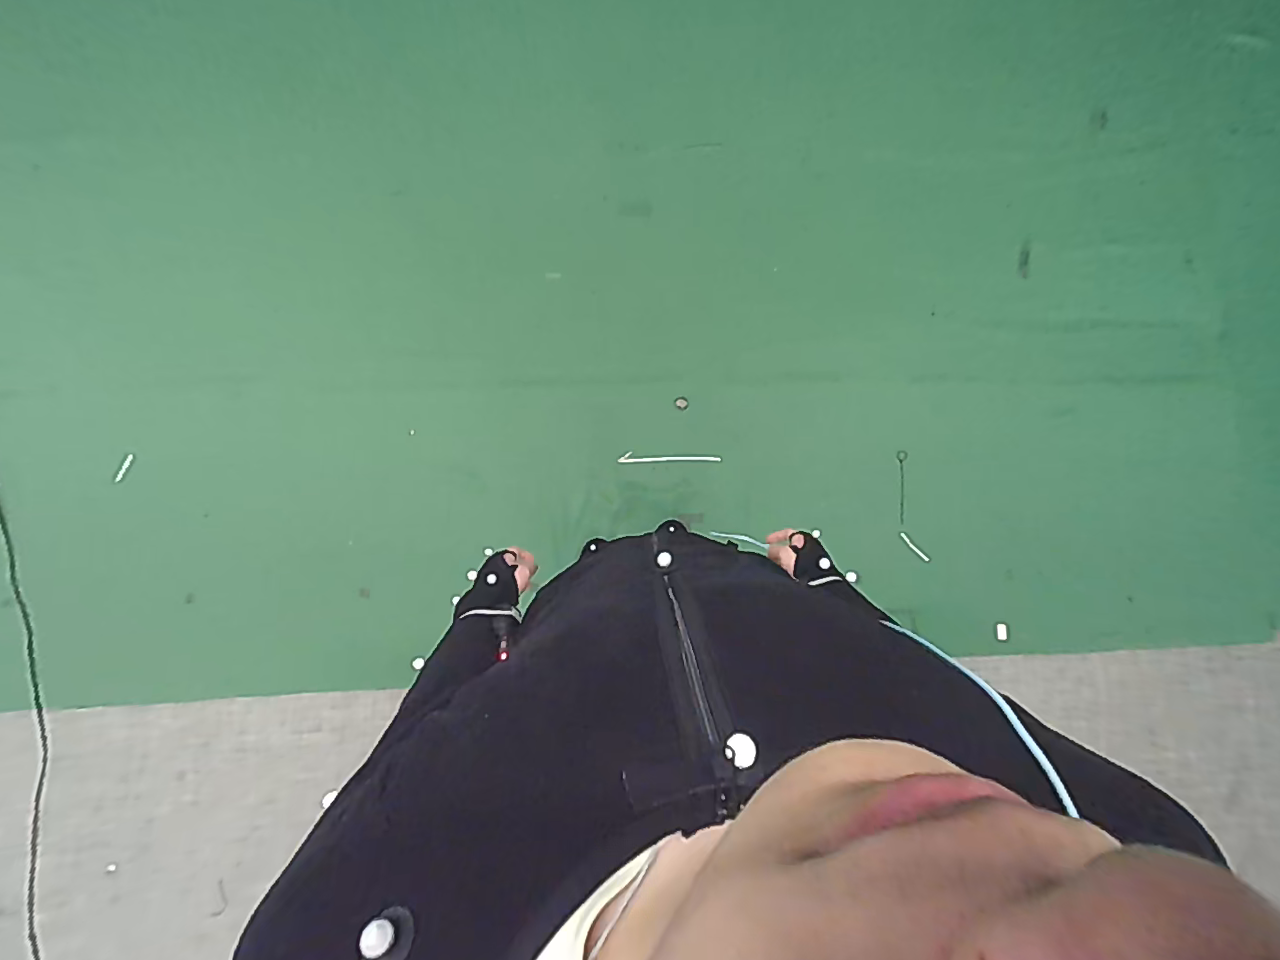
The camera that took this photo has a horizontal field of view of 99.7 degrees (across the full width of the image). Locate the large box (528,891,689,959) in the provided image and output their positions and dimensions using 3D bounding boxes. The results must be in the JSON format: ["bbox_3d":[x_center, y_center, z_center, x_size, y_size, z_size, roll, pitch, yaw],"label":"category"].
[{"bbox_3d":[-0.074,1.337,1.392,0.408,0.320,0.320,-4,85,-4],"label":"large box"}]
